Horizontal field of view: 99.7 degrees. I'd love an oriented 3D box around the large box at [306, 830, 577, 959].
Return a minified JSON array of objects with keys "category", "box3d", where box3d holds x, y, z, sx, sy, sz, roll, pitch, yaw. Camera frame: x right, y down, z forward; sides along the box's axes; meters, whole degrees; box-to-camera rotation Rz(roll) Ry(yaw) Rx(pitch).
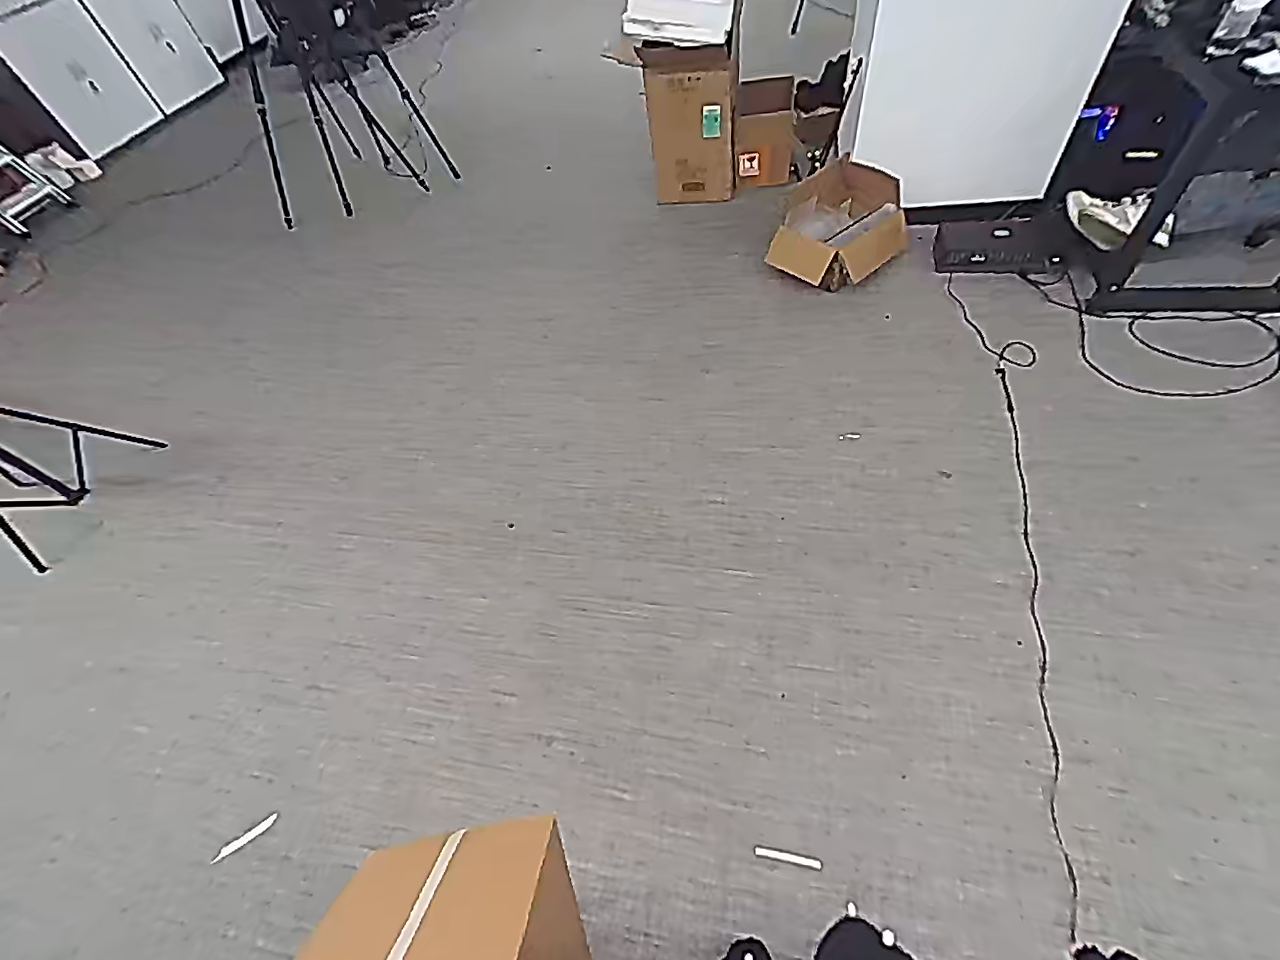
[{"category":"large box","box3d":[-0.259,0.747,0.678,0.320,0.408,0.320,-14,94,1]}]
